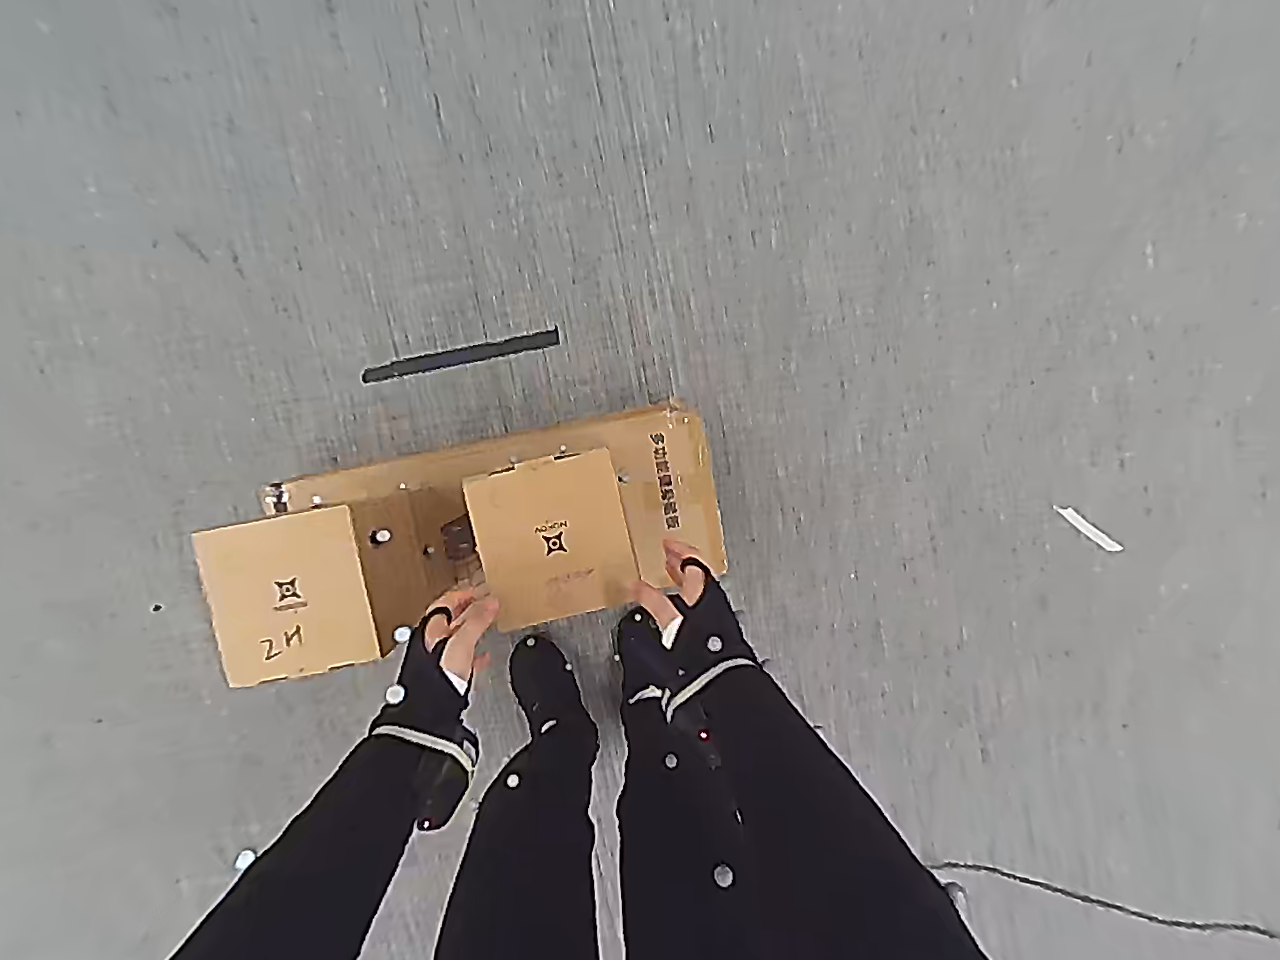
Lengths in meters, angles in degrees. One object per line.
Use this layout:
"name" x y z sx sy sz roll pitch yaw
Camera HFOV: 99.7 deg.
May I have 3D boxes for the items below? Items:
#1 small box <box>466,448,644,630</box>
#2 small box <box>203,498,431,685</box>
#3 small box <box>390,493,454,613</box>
"small box" -0.096 0.061 0.677 0.168 0.176 0.179 -14 95 0
"small box" -0.377 0.121 0.665 0.168 0.176 0.179 -10 94 -2
"small box" -0.404 0.120 0.830 0.168 0.176 0.179 -12 95 -2
